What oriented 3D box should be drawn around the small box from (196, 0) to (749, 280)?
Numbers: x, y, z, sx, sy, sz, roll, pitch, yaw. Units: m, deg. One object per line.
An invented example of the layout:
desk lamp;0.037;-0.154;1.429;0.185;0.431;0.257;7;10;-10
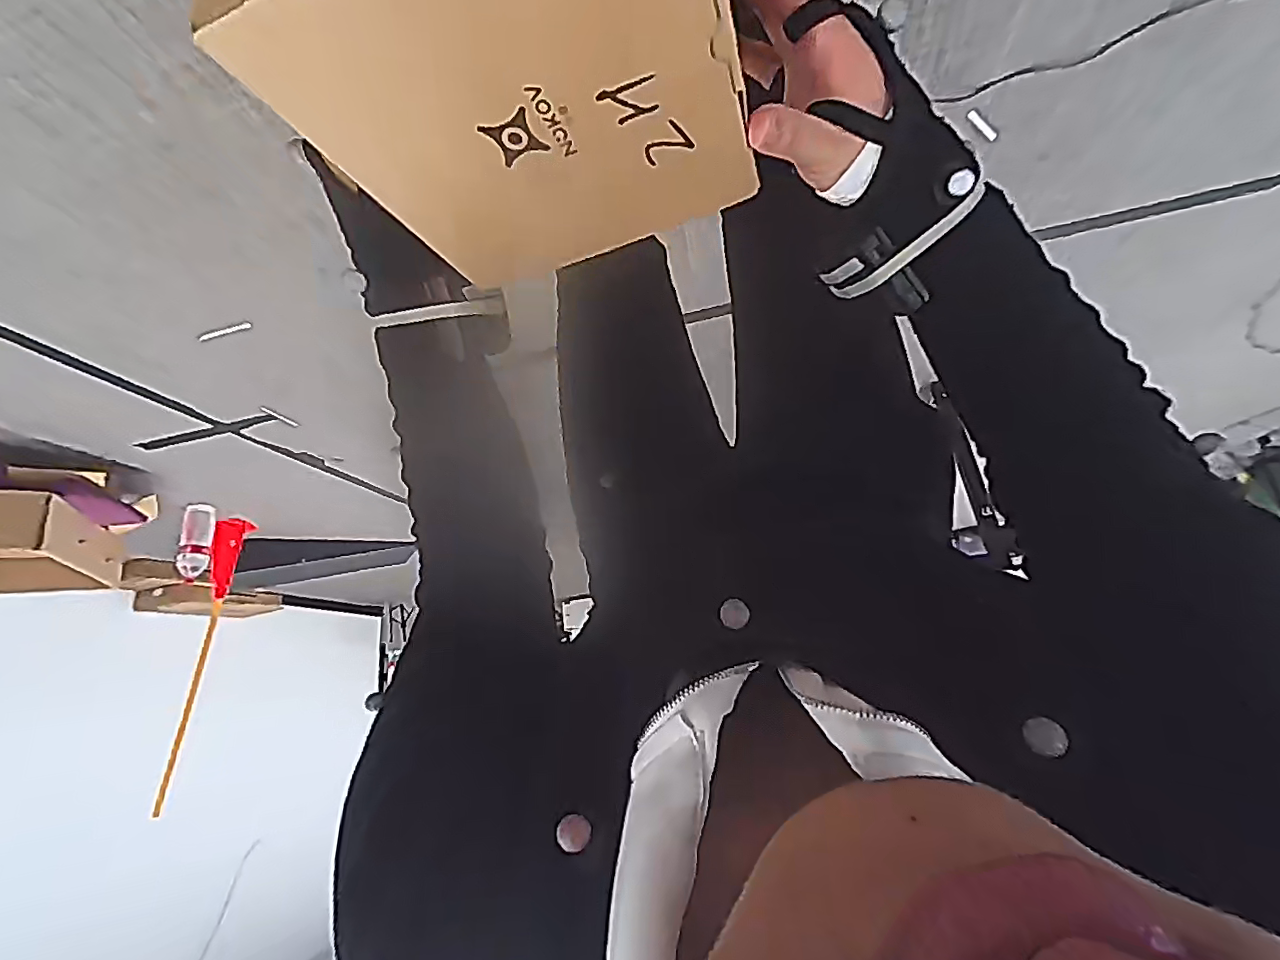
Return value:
small box;-0.056;-0.234;0.258;0.179;0.176;0.168;-11;164;17
